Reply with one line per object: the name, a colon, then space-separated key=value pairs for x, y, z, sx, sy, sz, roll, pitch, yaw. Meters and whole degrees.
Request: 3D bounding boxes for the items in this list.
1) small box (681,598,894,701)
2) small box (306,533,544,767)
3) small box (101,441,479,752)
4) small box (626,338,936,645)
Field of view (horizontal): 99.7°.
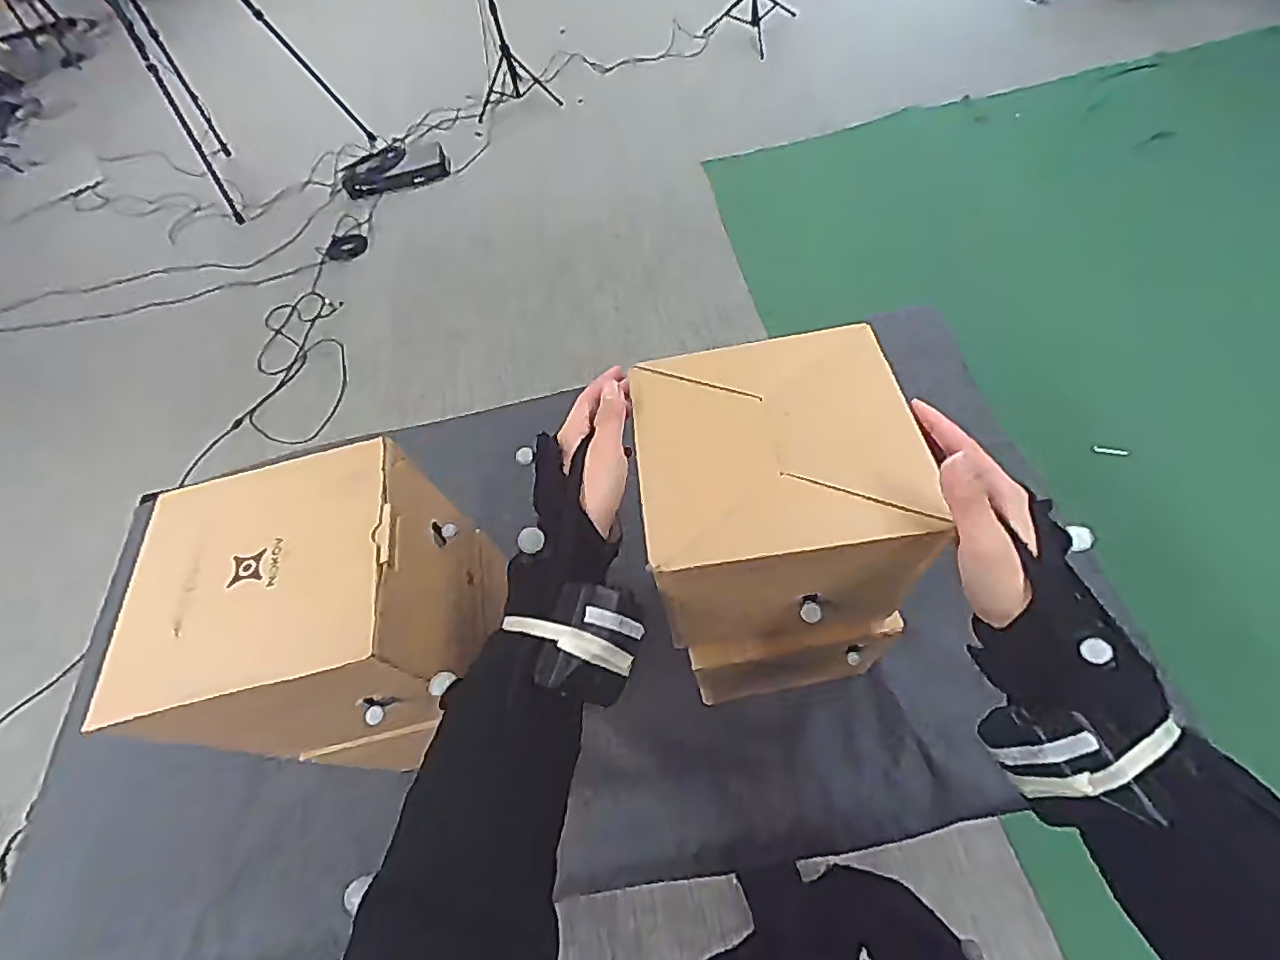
small box: x=0.123 y=0.114 z=0.551 sx=0.179 sy=0.176 sz=0.168 roll=-12 pitch=57 yaw=2
small box: x=-0.207 y=0.182 z=0.561 sx=0.168 sy=0.176 sz=0.179 roll=-14 pitch=58 yaw=1
small box: x=-0.236 y=0.099 z=0.424 sx=0.179 sy=0.176 sz=0.168 roll=-15 pitch=56 yaw=1
small box: x=0.094 y=0.014 z=0.418 sx=0.179 sy=0.176 sz=0.168 roll=-9 pitch=57 yaw=4
